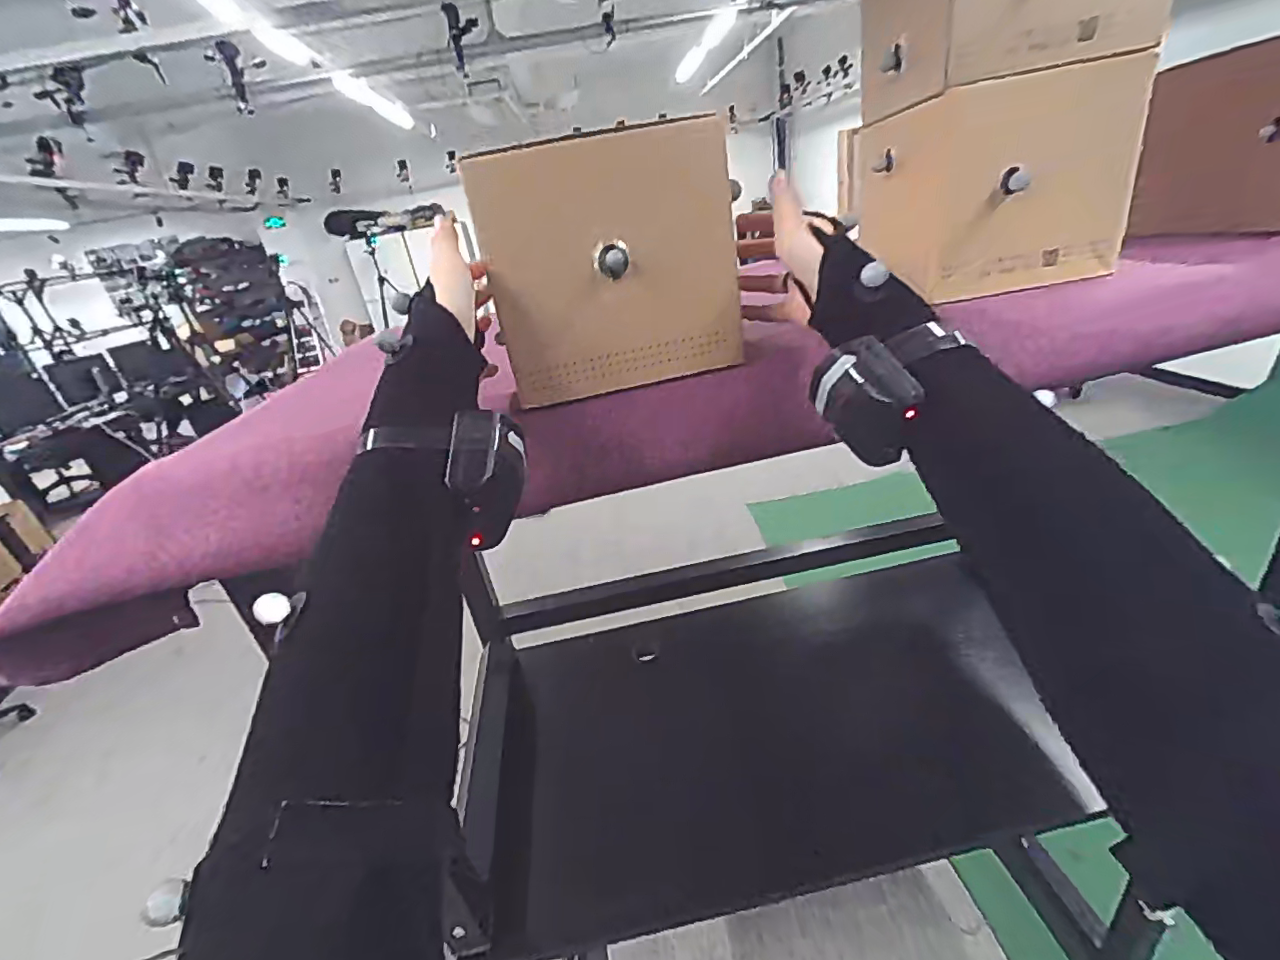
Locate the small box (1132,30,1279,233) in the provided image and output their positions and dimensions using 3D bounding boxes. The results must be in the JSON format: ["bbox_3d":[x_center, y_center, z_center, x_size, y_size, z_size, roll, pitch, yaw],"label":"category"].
[{"bbox_3d":[0.664,-0.355,0.546,0.168,0.176,0.179,-12,24,-4],"label":"small box"}]

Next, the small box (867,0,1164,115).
[{"bbox_3d":[0.305,-0.430,0.455,0.168,0.176,0.179,-8,25,3],"label":"small box"}]

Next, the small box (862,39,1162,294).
[{"bbox_3d":[0.330,-0.282,0.523,0.168,0.176,0.179,-9,24,2],"label":"small box"}]
